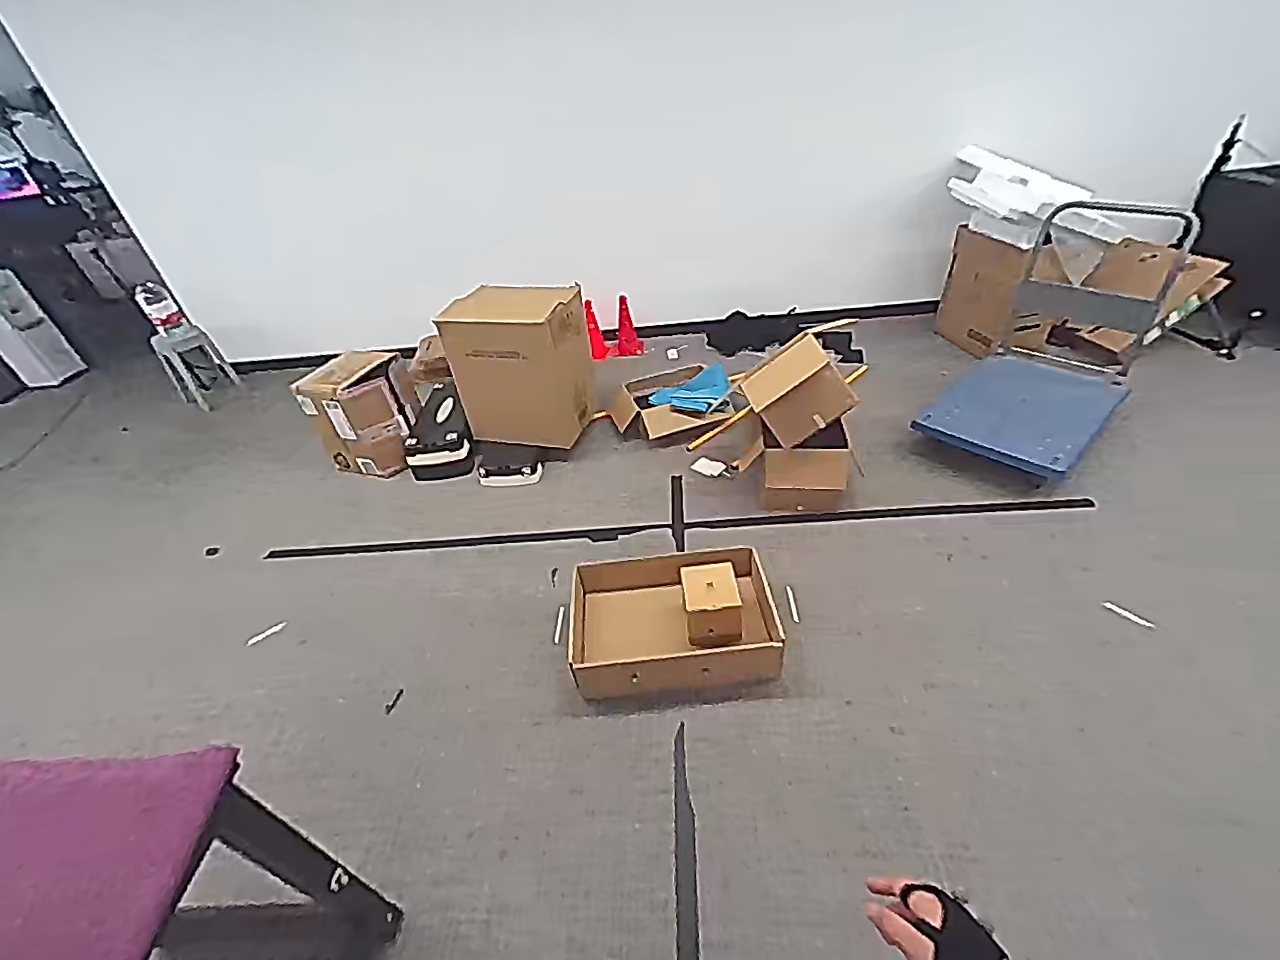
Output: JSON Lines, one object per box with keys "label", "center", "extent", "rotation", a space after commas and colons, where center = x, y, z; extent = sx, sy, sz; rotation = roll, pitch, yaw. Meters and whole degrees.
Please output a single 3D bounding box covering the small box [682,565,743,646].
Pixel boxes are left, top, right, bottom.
{"label": "small box", "center": [0.226, 0.396, 1.709], "extent": [0.168, 0.176, 0.179], "rotation": [-7, 37, 1]}
